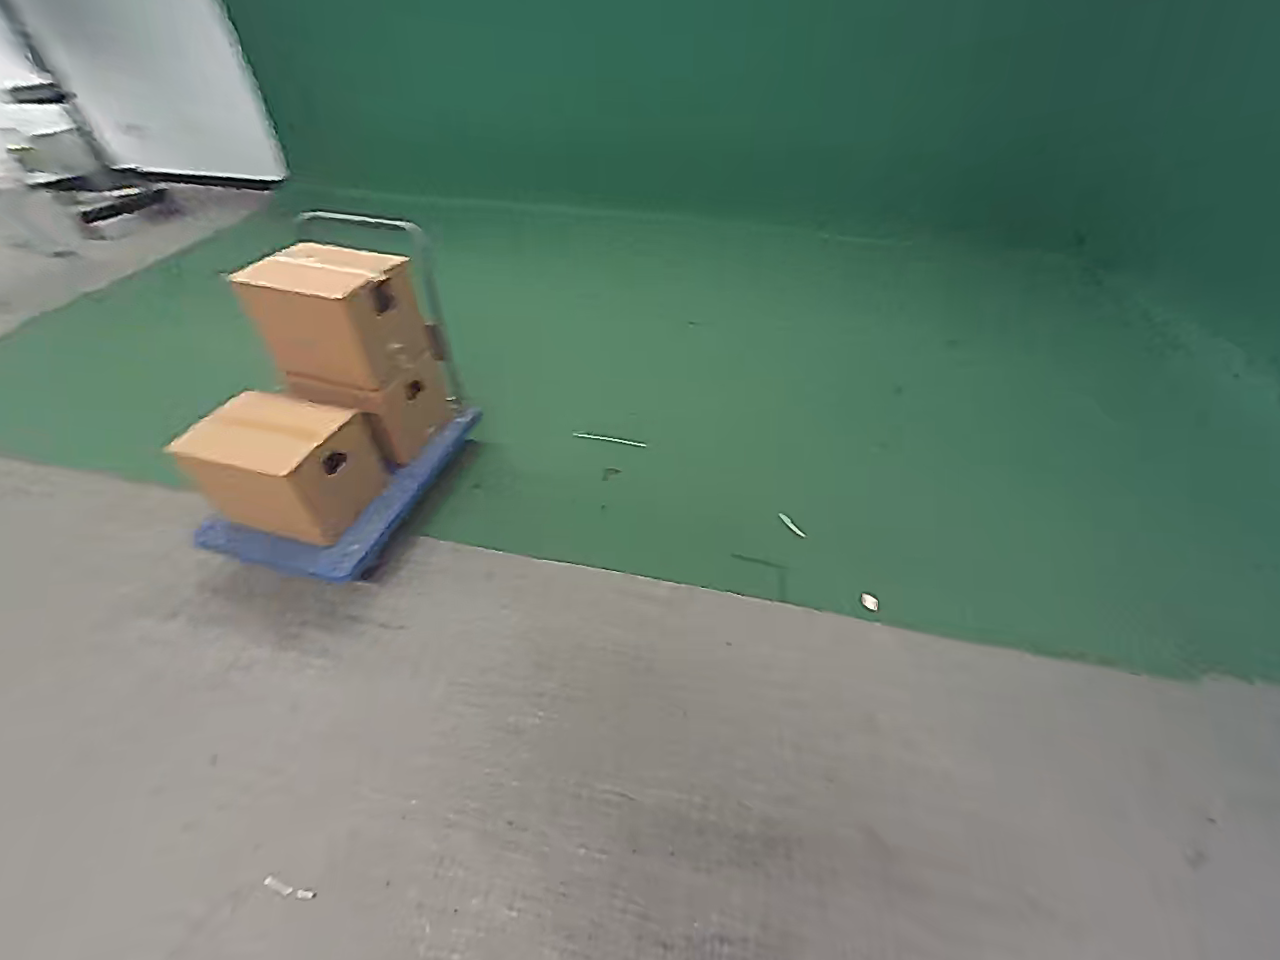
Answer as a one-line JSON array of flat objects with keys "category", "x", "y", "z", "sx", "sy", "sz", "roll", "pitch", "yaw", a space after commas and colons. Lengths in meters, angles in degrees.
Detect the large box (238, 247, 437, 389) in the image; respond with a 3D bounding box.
[{"category": "large box", "x": -0.948, "y": -0.526, "z": 1.750, "sx": 0.408, "sy": 0.320, "sz": 0.320, "roll": 13, "pitch": 44, "yaw": 14}]
